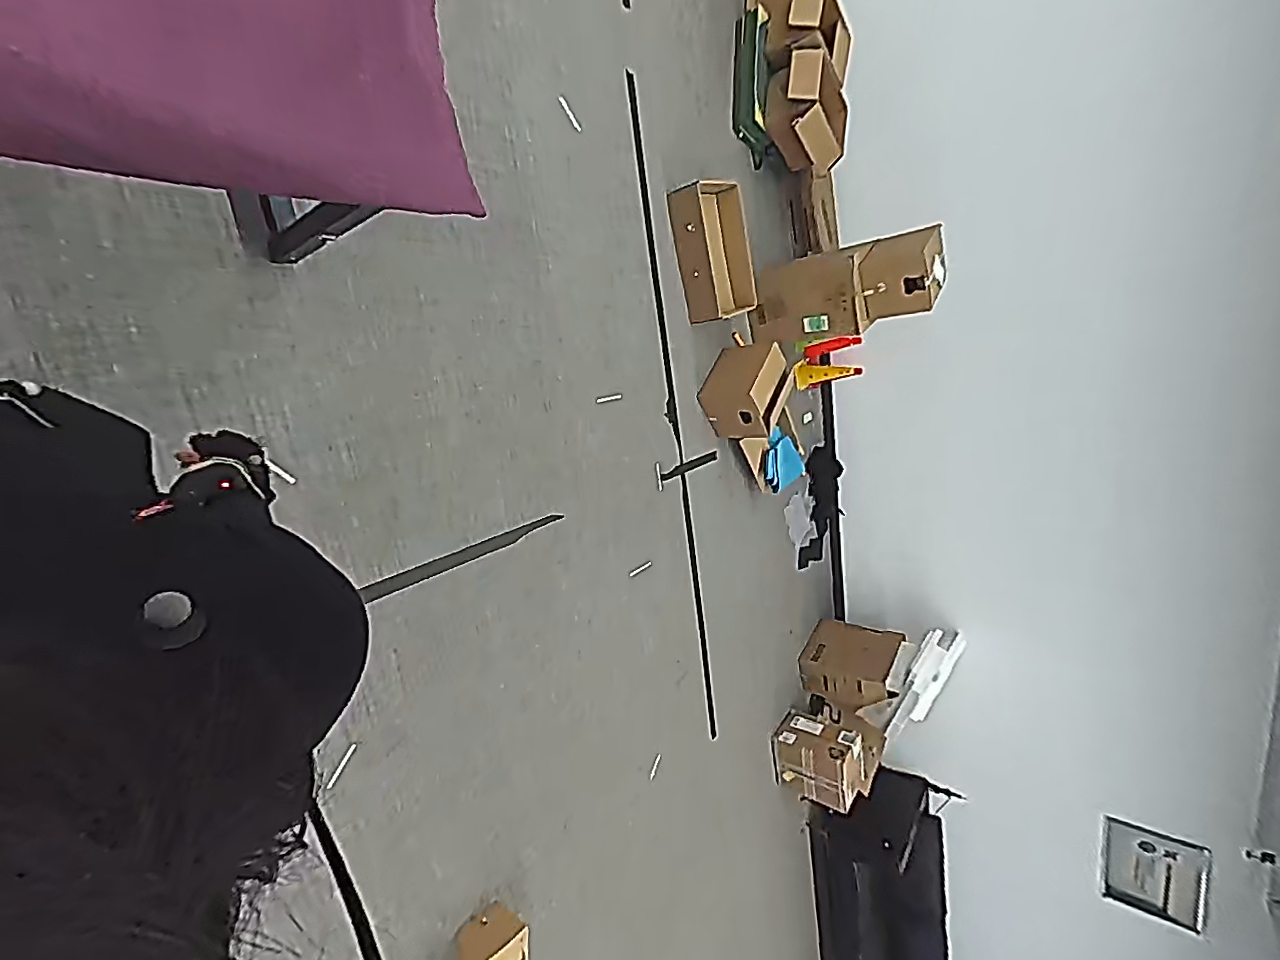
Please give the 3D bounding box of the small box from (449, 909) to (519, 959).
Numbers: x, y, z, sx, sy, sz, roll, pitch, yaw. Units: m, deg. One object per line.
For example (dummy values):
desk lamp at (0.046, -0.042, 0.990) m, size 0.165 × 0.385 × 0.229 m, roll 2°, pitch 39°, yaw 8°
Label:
small box at (-0.528, 1.610, 1.816) m, size 0.179 × 0.176 × 0.168 m, roll -3°, pitch 95°, yaw -51°
